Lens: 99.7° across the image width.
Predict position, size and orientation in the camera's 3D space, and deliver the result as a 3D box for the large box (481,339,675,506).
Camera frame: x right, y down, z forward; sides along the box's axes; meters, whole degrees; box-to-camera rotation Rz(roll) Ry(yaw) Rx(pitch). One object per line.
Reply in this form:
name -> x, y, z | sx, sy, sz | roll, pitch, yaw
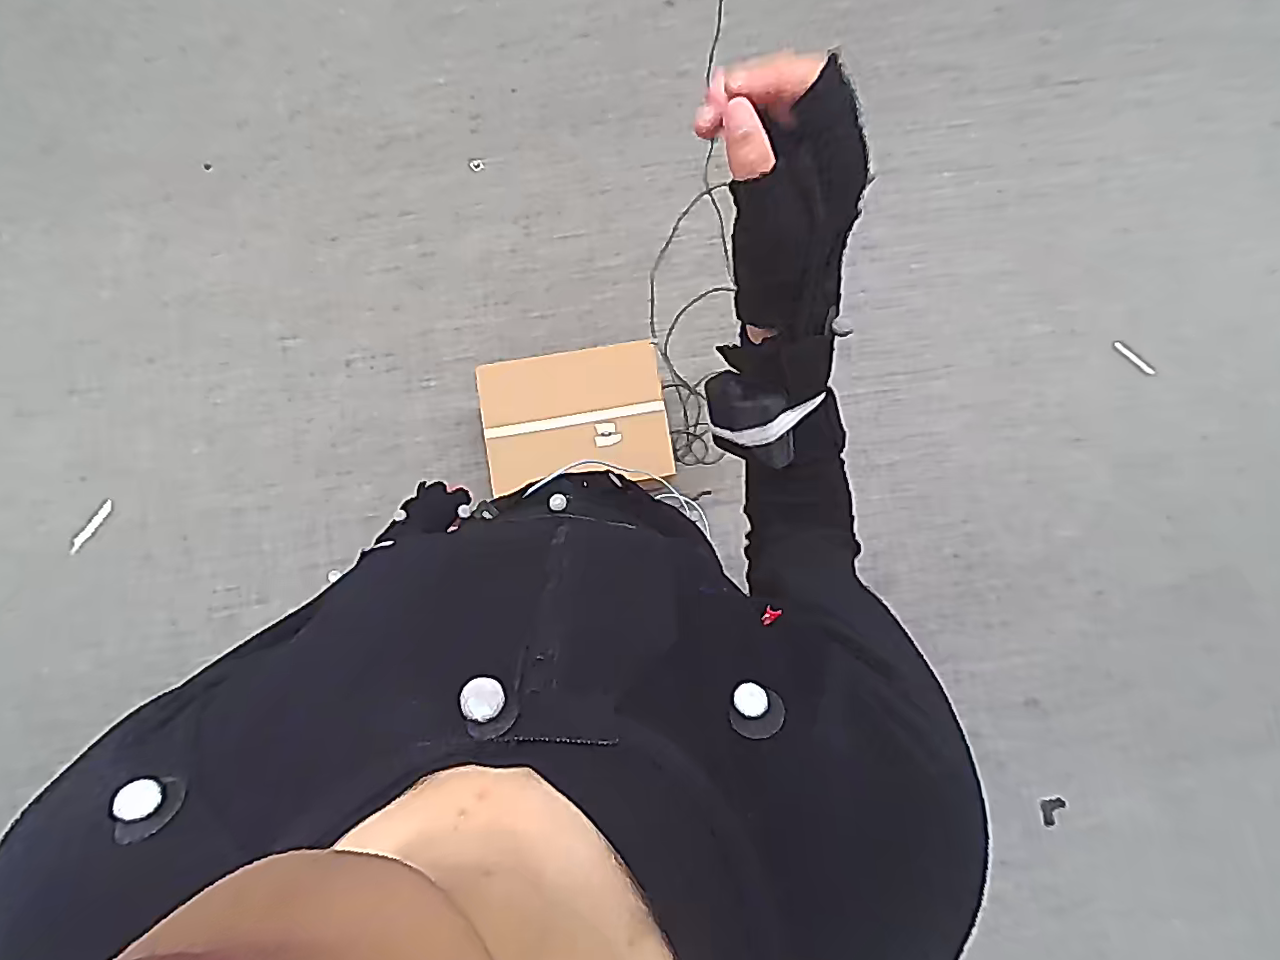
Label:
large box -> -0.144, -0.124, 1.356 | 0.408, 0.320, 0.320 | -9, 86, -2
